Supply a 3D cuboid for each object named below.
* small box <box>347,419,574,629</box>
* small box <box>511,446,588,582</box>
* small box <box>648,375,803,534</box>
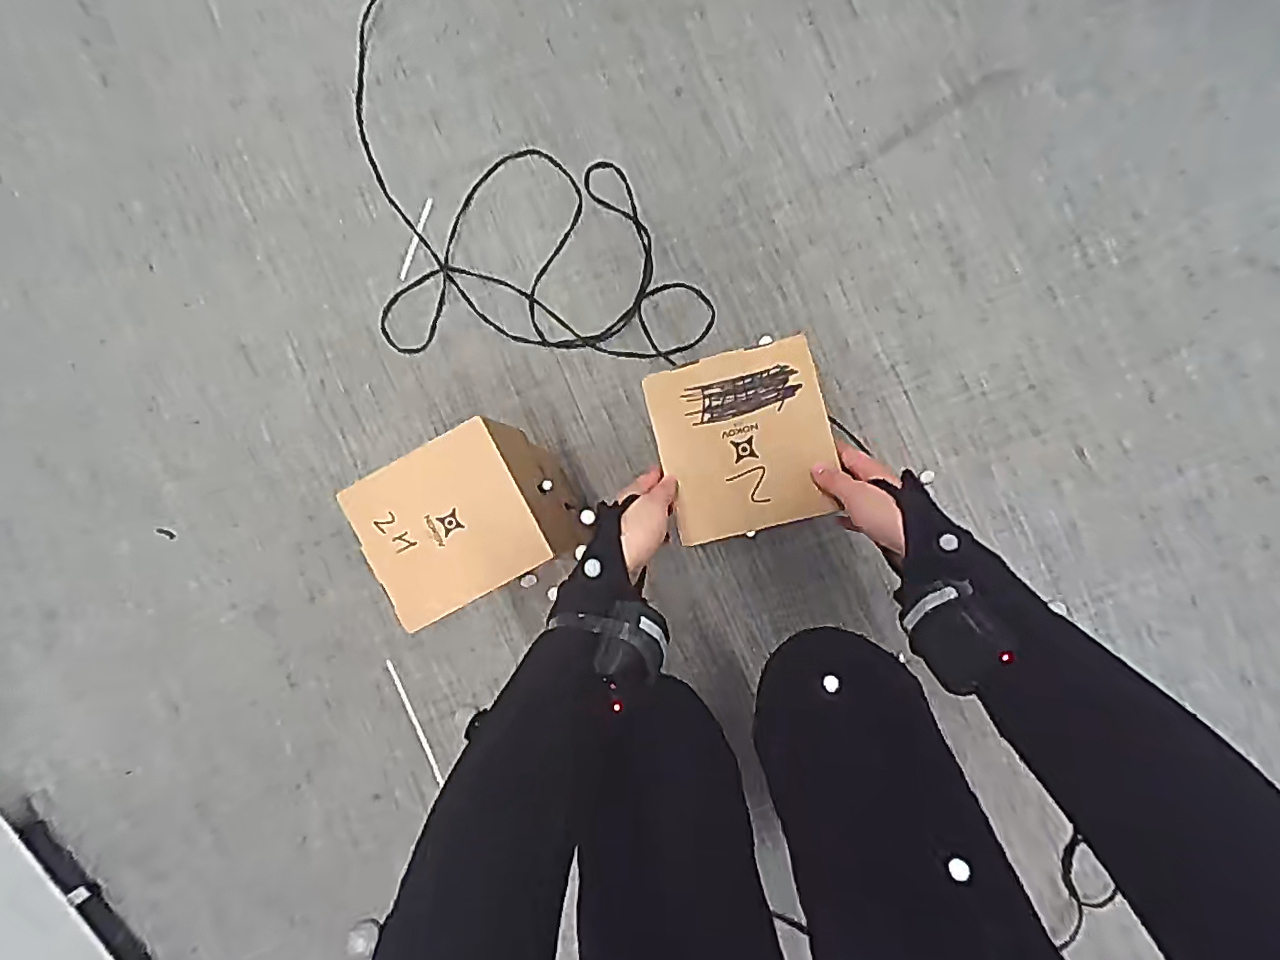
[{"bbox_3d":[-0.191,0.045,0.640,0.179,0.176,0.168,-28,88,3],"label":"small box"},{"bbox_3d":[-0.188,0.054,0.805,0.179,0.176,0.168,-27,88,3],"label":"small box"},{"bbox_3d":[0.117,-0.033,0.788,0.168,0.176,0.179,-18,88,3],"label":"small box"}]
